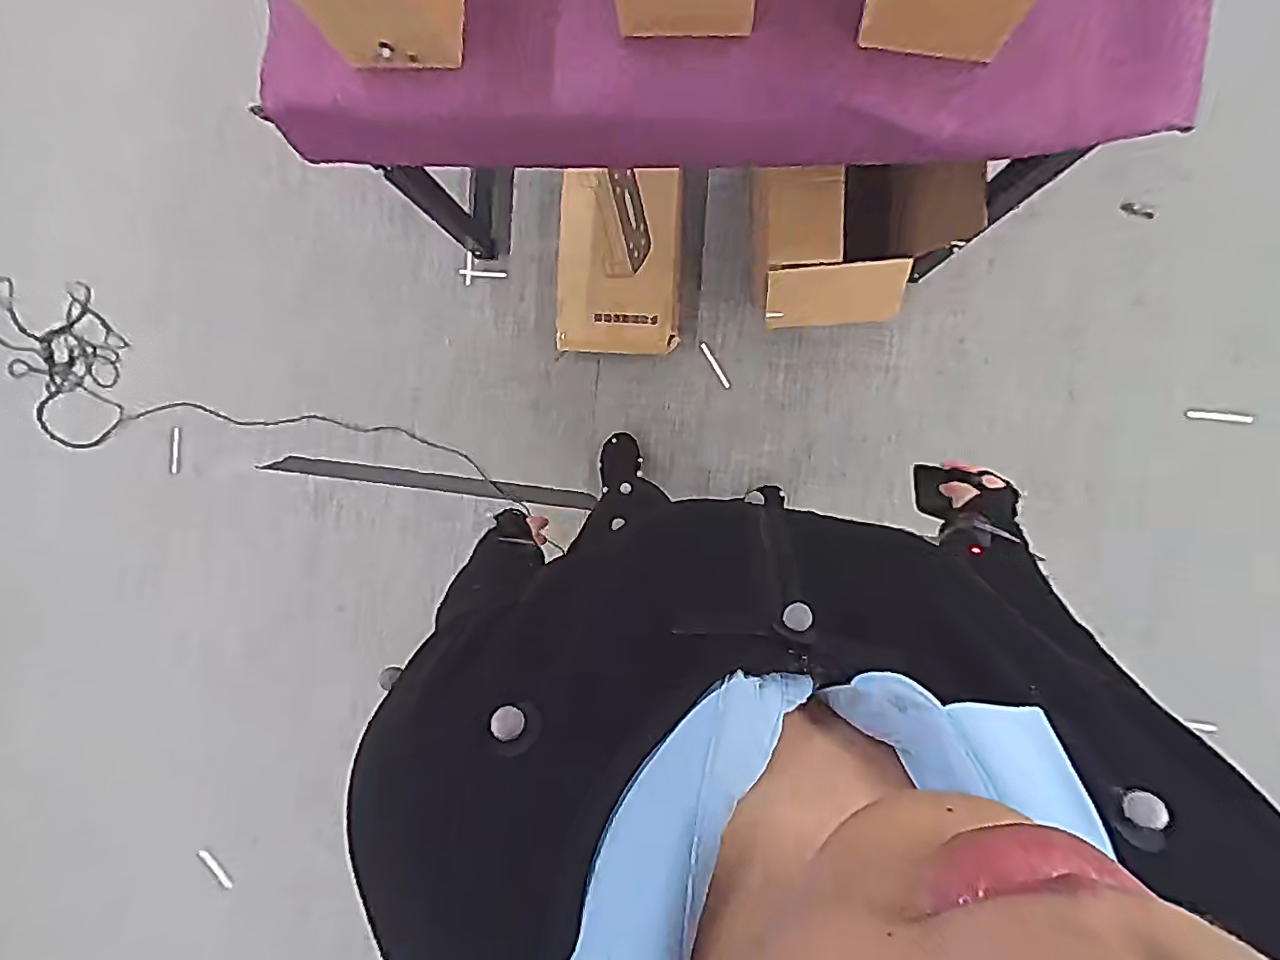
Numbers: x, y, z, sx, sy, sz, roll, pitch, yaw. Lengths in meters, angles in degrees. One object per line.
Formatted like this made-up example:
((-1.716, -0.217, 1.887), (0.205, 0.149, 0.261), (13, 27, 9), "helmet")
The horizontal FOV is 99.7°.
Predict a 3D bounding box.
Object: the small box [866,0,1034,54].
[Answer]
((0.379, -0.630, 0.612), (0.179, 0.176, 0.168), (11, 94, 4), "small box")

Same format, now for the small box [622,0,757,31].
((0.065, -0.676, 0.637), (0.179, 0.176, 0.168), (4, 91, 5), "small box")
